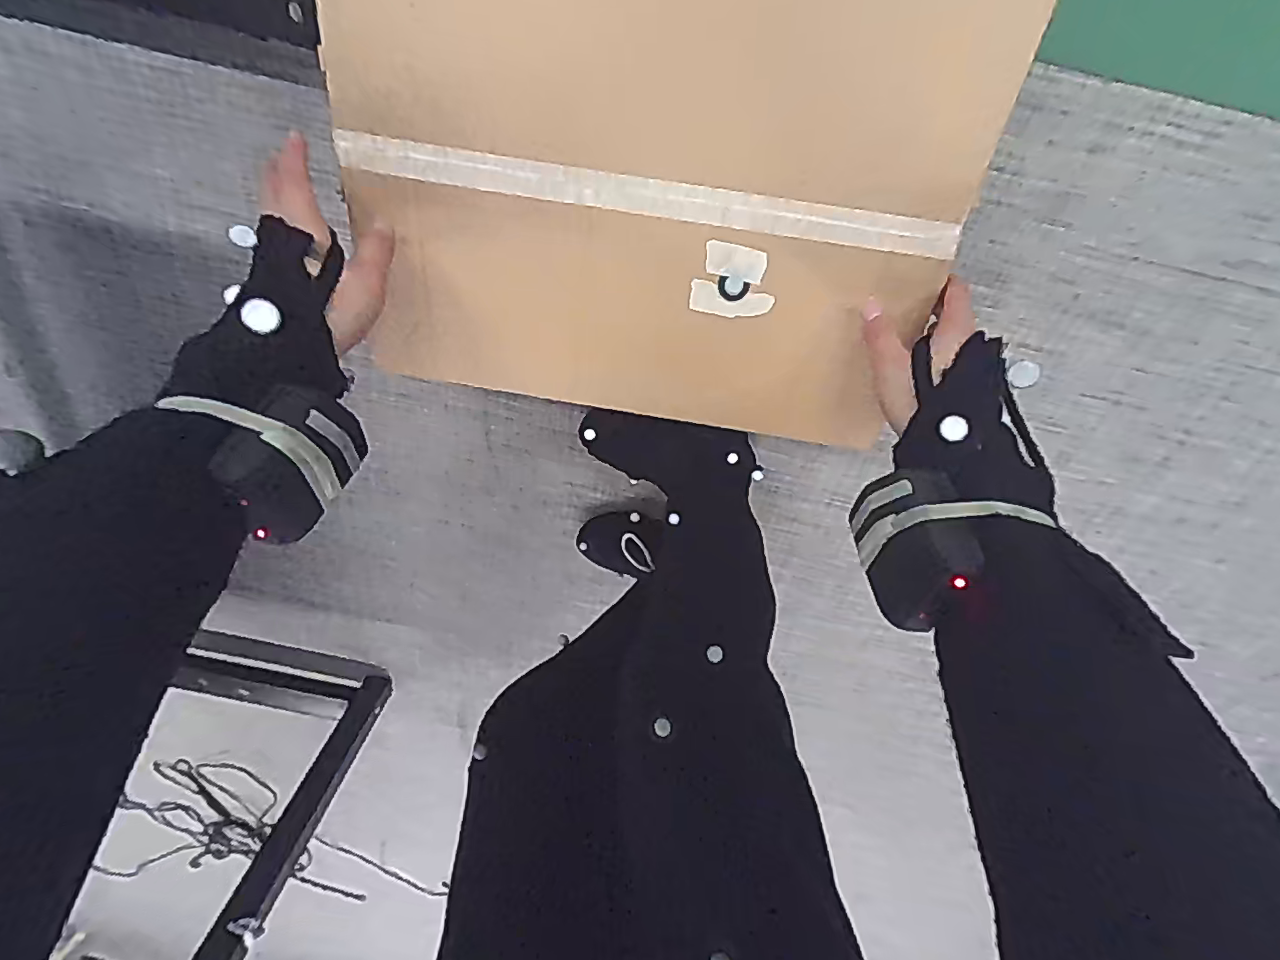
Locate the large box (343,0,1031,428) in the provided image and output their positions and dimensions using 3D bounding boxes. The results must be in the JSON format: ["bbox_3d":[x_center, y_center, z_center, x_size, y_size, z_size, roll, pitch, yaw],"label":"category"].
[{"bbox_3d":[0.018,-0.271,0.490,0.408,0.320,0.320,8,122,0],"label":"large box"}]
